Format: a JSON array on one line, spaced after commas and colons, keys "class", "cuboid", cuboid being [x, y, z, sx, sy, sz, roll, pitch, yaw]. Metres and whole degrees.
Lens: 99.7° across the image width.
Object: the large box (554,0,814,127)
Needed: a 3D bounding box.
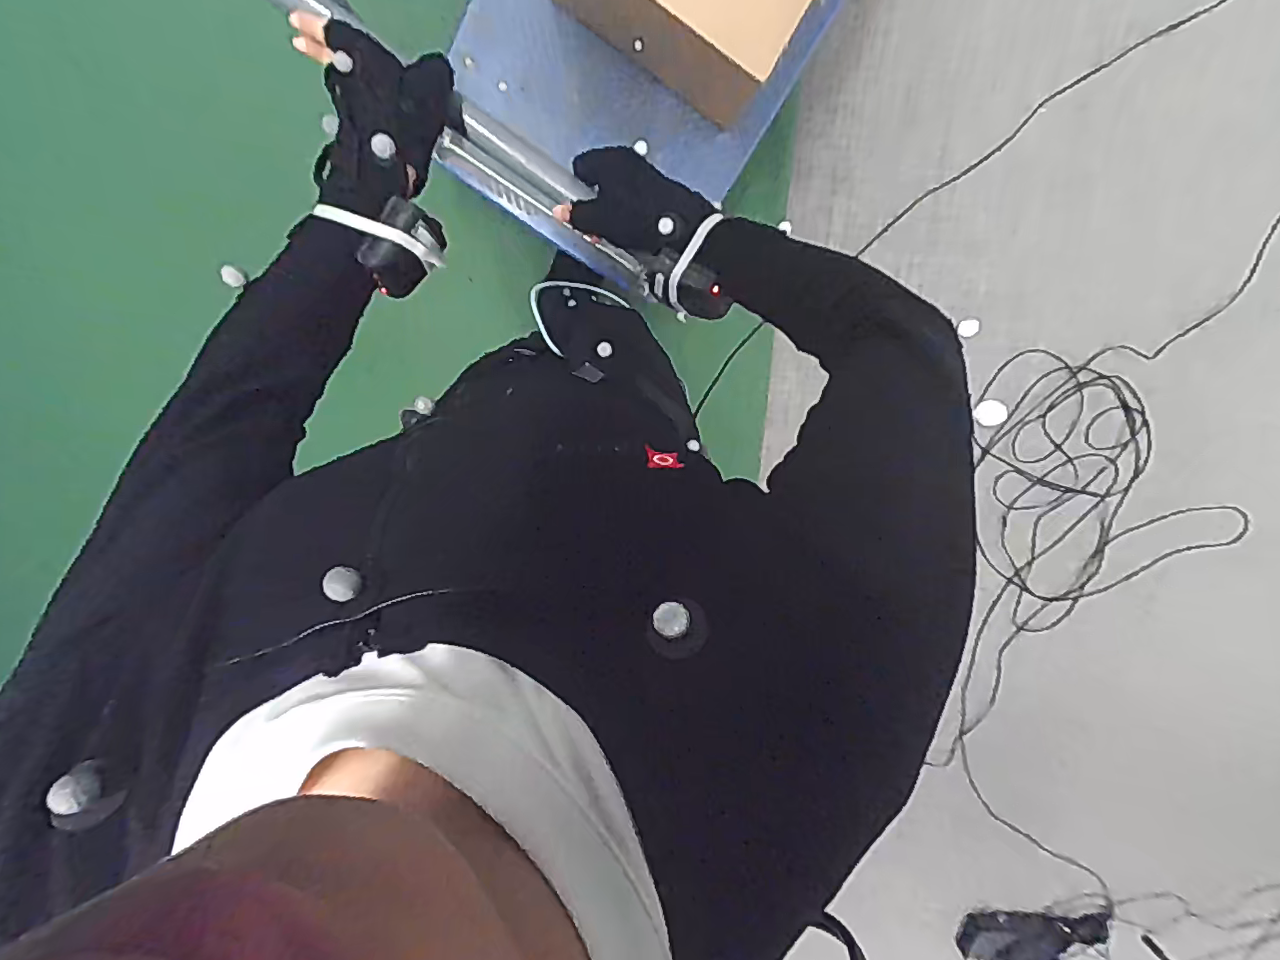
[{"class": "large box", "cuboid": [0.088, -0.845, 0.844, 0.408, 0.320, 0.320, 29, 108, -12]}]
